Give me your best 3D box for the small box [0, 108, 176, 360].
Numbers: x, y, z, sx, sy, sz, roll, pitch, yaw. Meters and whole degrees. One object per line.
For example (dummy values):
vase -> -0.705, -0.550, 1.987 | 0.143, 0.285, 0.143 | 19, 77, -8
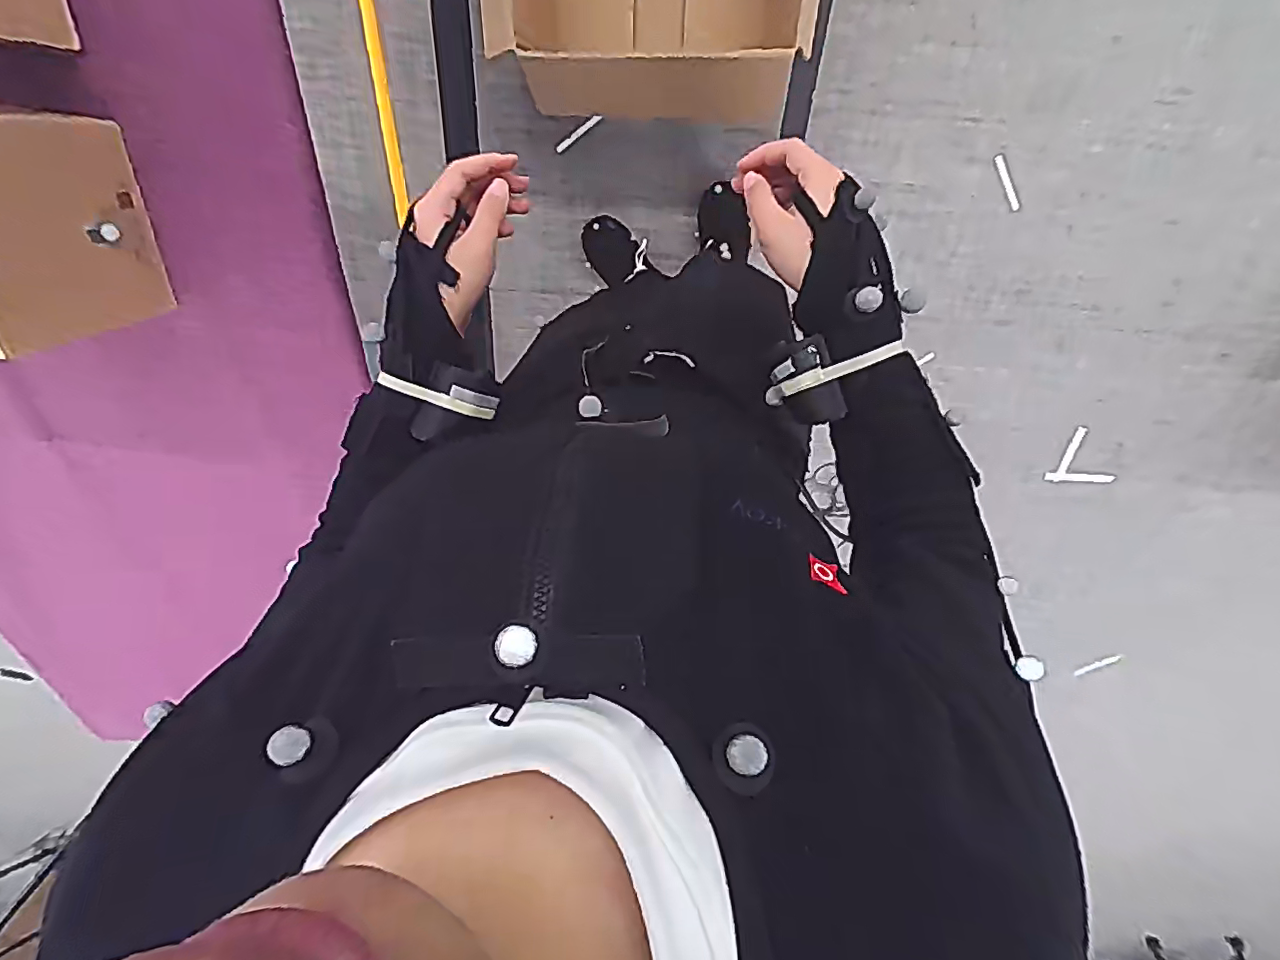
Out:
small box -> -0.562, -0.217, 0.457 | 0.179, 0.176, 0.168 | 8, 121, 0

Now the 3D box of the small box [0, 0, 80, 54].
small box -> -0.548, -0.397, 0.348 | 0.179, 0.176, 0.168 | 8, 122, 0
